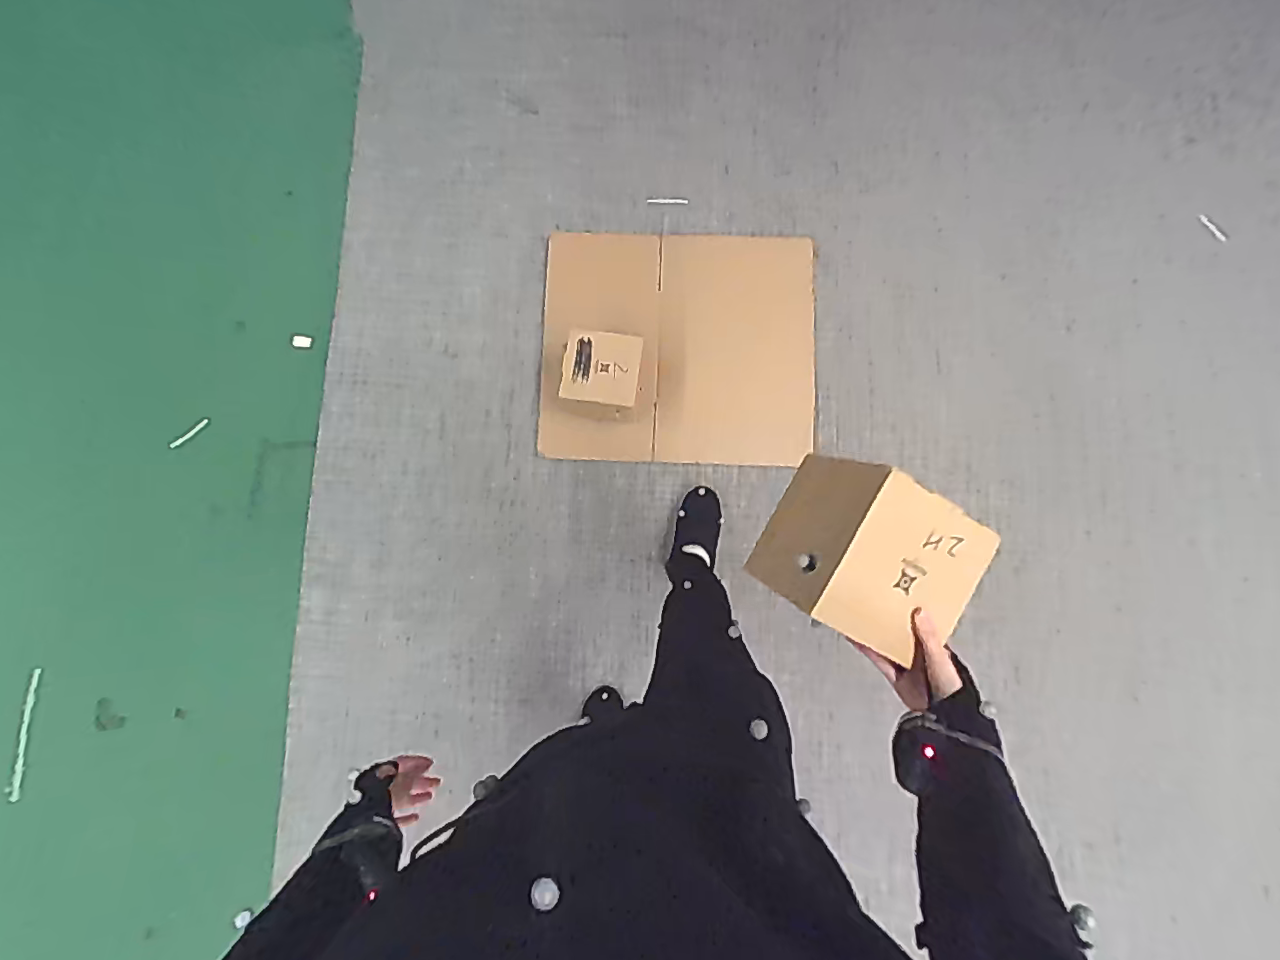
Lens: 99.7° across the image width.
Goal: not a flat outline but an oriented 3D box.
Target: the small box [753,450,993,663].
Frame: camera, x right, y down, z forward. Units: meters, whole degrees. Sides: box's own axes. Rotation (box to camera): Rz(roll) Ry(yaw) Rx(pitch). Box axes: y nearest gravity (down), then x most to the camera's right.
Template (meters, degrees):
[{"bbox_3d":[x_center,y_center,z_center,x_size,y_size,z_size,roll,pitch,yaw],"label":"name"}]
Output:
[{"bbox_3d":[0.259,0.079,0.645,0.168,0.176,0.179,29,88,-15],"label":"small box"}]
